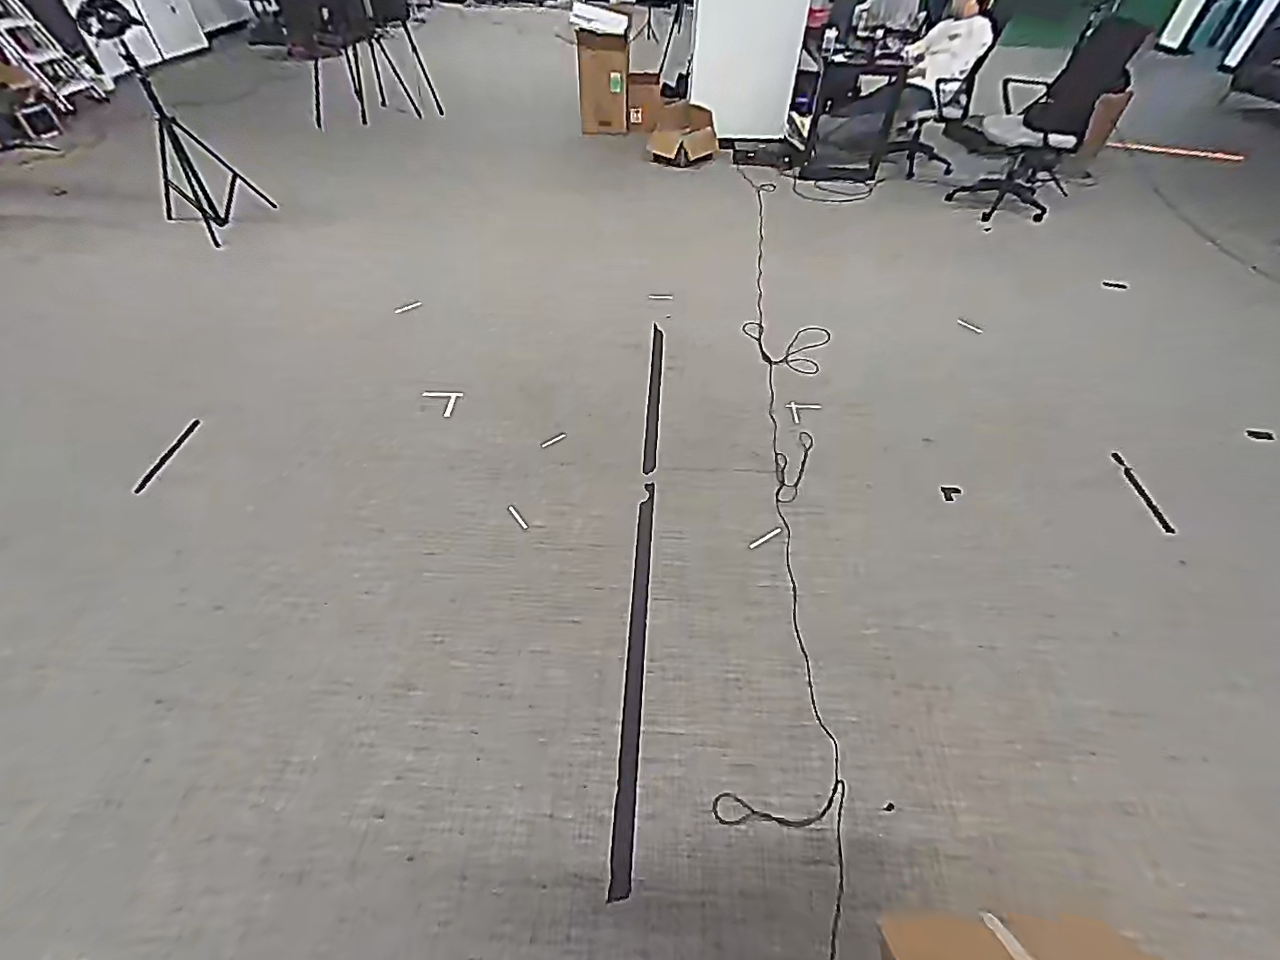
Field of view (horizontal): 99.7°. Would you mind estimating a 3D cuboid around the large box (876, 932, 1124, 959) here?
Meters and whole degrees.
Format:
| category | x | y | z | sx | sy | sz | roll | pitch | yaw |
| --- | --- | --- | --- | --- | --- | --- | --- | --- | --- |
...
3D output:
| category | x | y | z | sx | sy | sz | roll | pitch | yaw |
| --- | --- | --- | --- | --- | --- | --- | --- | --- | --- |
| large box | 0.485 | 0.761 | 0.559 | 0.320 | 0.408 | 0.320 | -7 | 75 | 6 |
